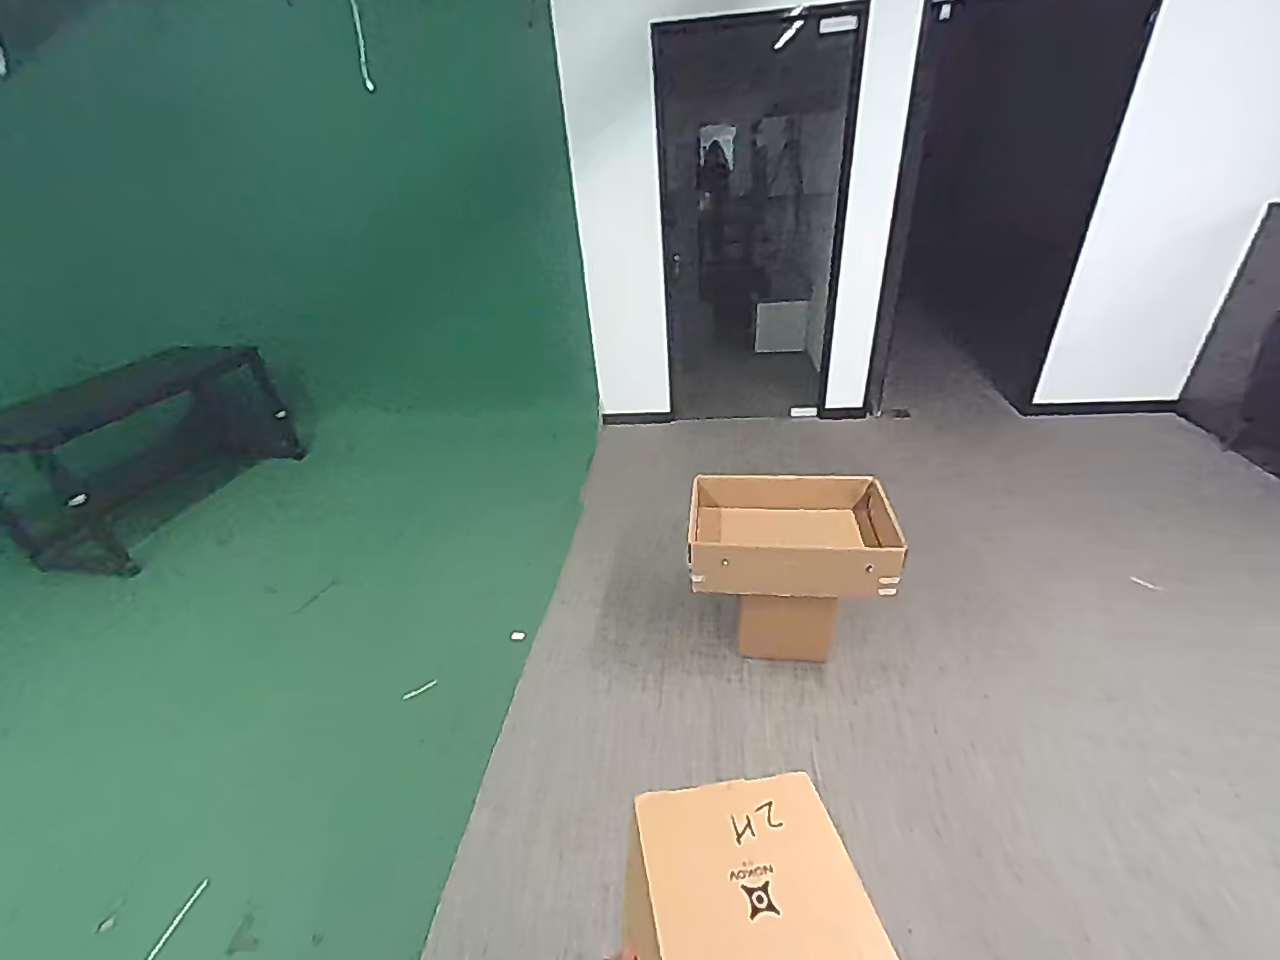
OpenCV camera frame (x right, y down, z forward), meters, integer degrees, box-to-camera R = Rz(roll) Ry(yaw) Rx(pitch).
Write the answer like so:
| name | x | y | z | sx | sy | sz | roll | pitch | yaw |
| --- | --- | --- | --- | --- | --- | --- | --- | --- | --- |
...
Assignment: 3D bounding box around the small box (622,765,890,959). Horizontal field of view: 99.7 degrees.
| name | x | y | z | sx | sy | sz | roll | pitch | yaw |
| --- | --- | --- | --- | --- | --- | --- | --- | --- | --- |
| small box | 0.076 | 0.372 | 0.440 | 0.168 | 0.176 | 0.179 | -1 | 26 | -9 |
